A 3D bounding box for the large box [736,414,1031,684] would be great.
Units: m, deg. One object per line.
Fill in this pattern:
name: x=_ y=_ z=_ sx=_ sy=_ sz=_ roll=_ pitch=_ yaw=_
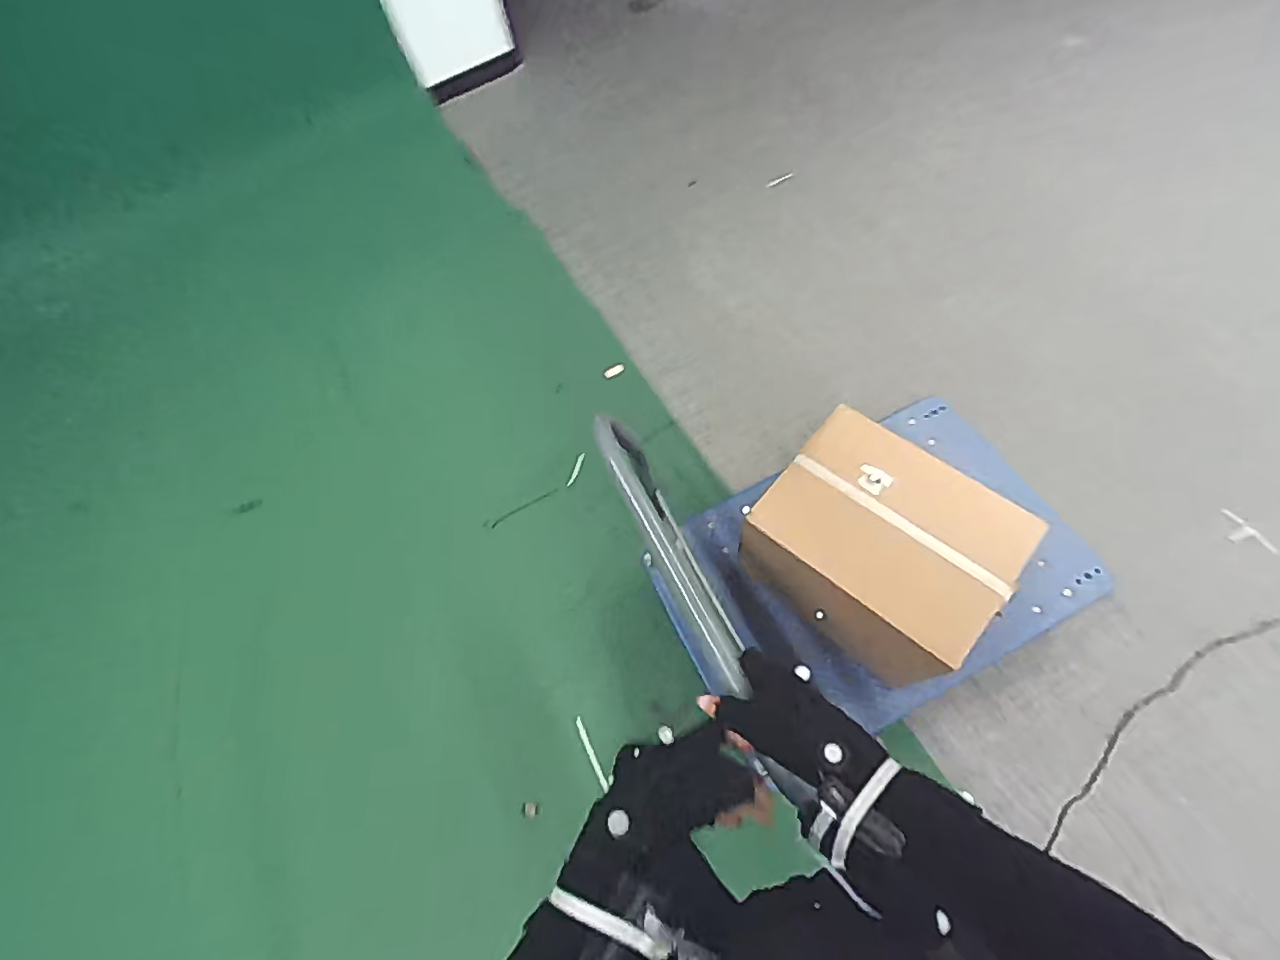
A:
large box: x=0.446 y=0.146 z=1.088 sx=0.408 sy=0.320 sz=0.320 roll=36 pitch=73 yaw=23
